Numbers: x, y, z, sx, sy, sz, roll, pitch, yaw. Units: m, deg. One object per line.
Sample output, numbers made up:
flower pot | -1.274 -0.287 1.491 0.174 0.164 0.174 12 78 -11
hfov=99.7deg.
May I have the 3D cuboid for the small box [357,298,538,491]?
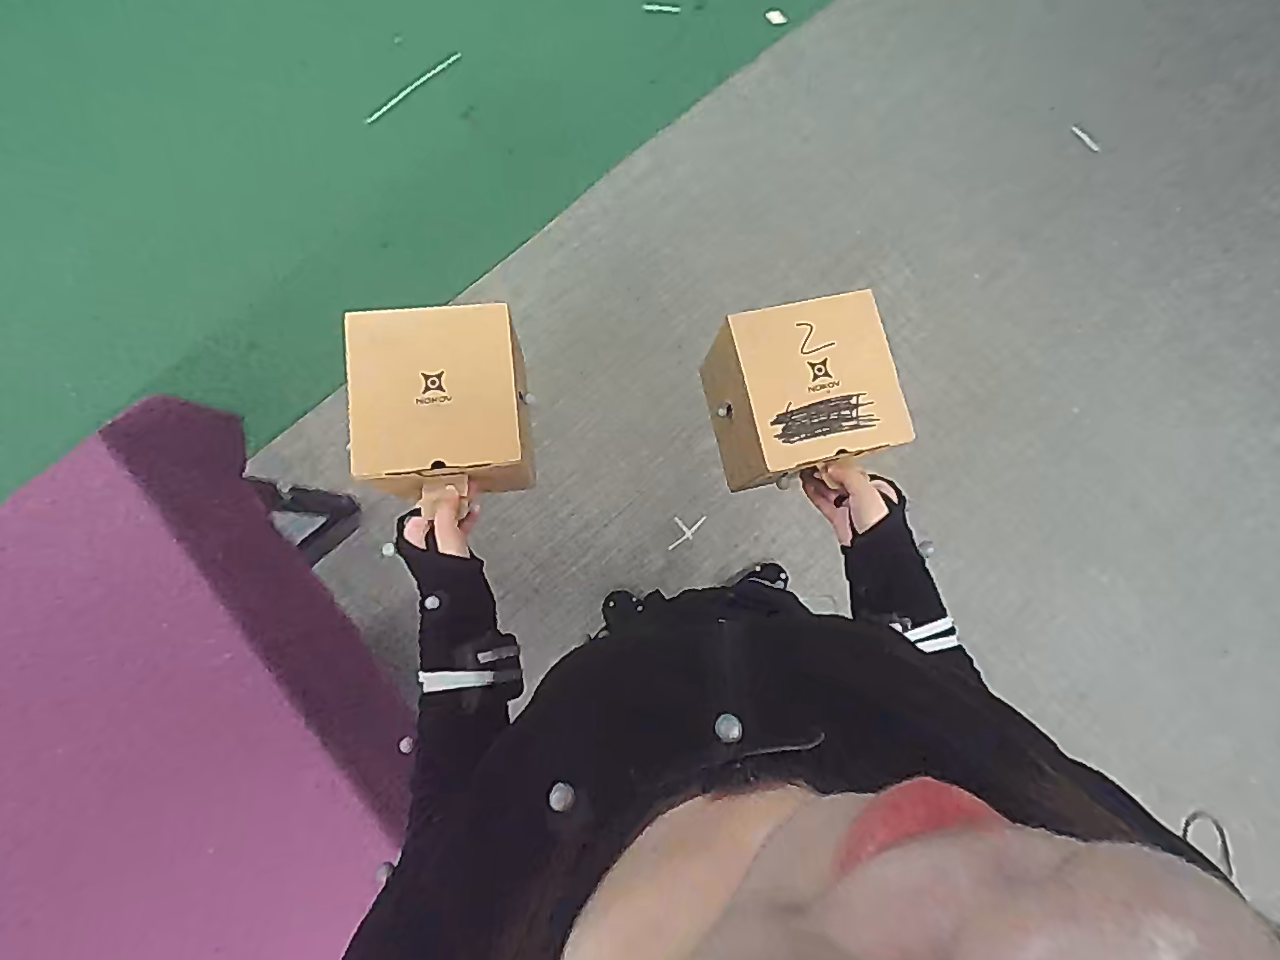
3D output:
small box | -0.209 -0.089 0.624 0.168 0.176 0.179 -5 83 -8
